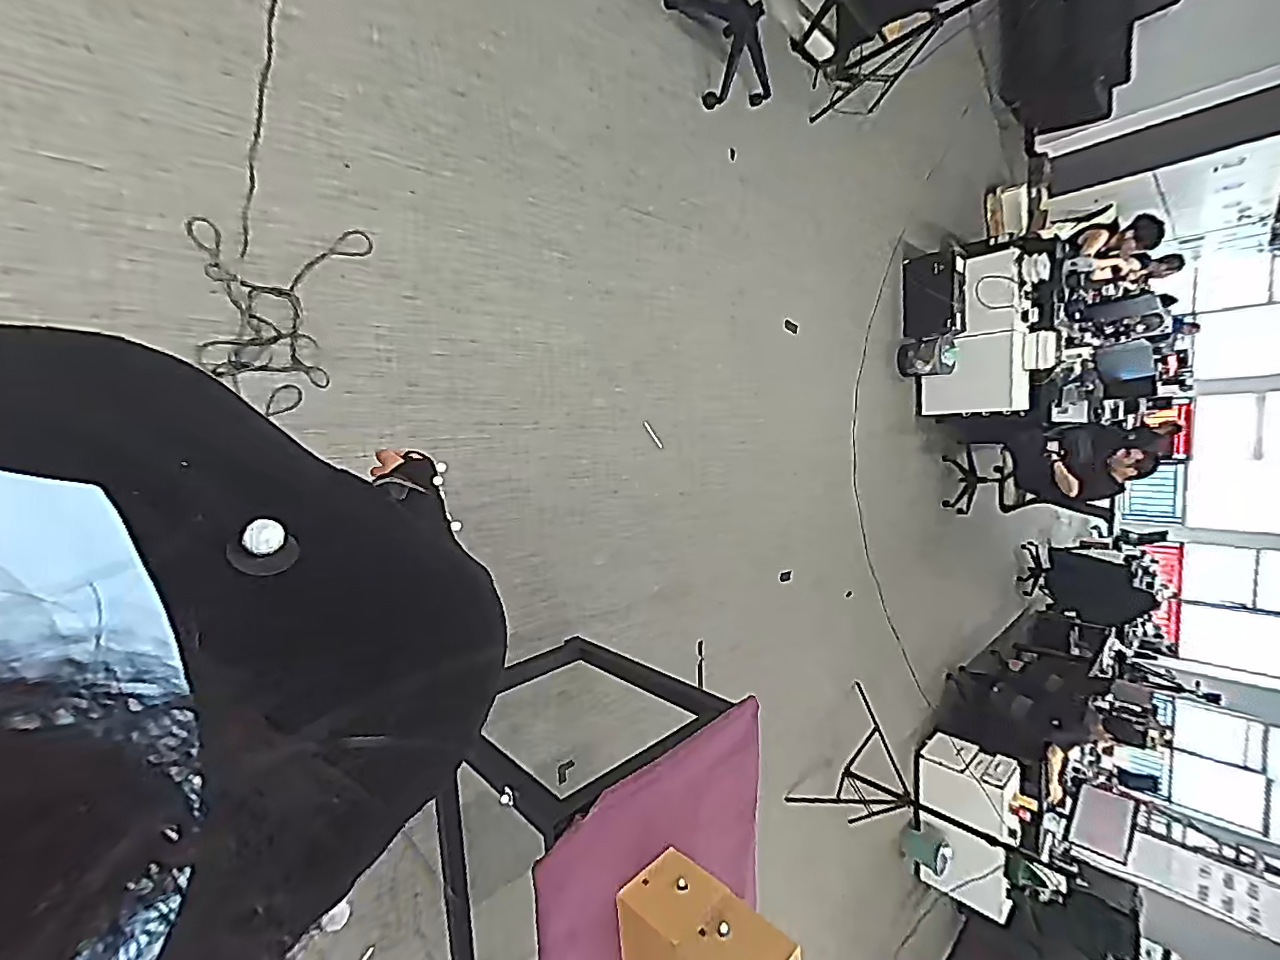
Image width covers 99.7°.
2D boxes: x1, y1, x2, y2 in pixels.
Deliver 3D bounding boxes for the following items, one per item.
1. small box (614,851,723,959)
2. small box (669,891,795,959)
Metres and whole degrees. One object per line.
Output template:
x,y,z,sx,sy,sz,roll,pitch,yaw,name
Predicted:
0.060,0.915,1.119,0.168,0.176,0.179,-12,101,-42,small box
0.169,0.925,0.997,0.168,0.176,0.179,-12,101,-43,small box
